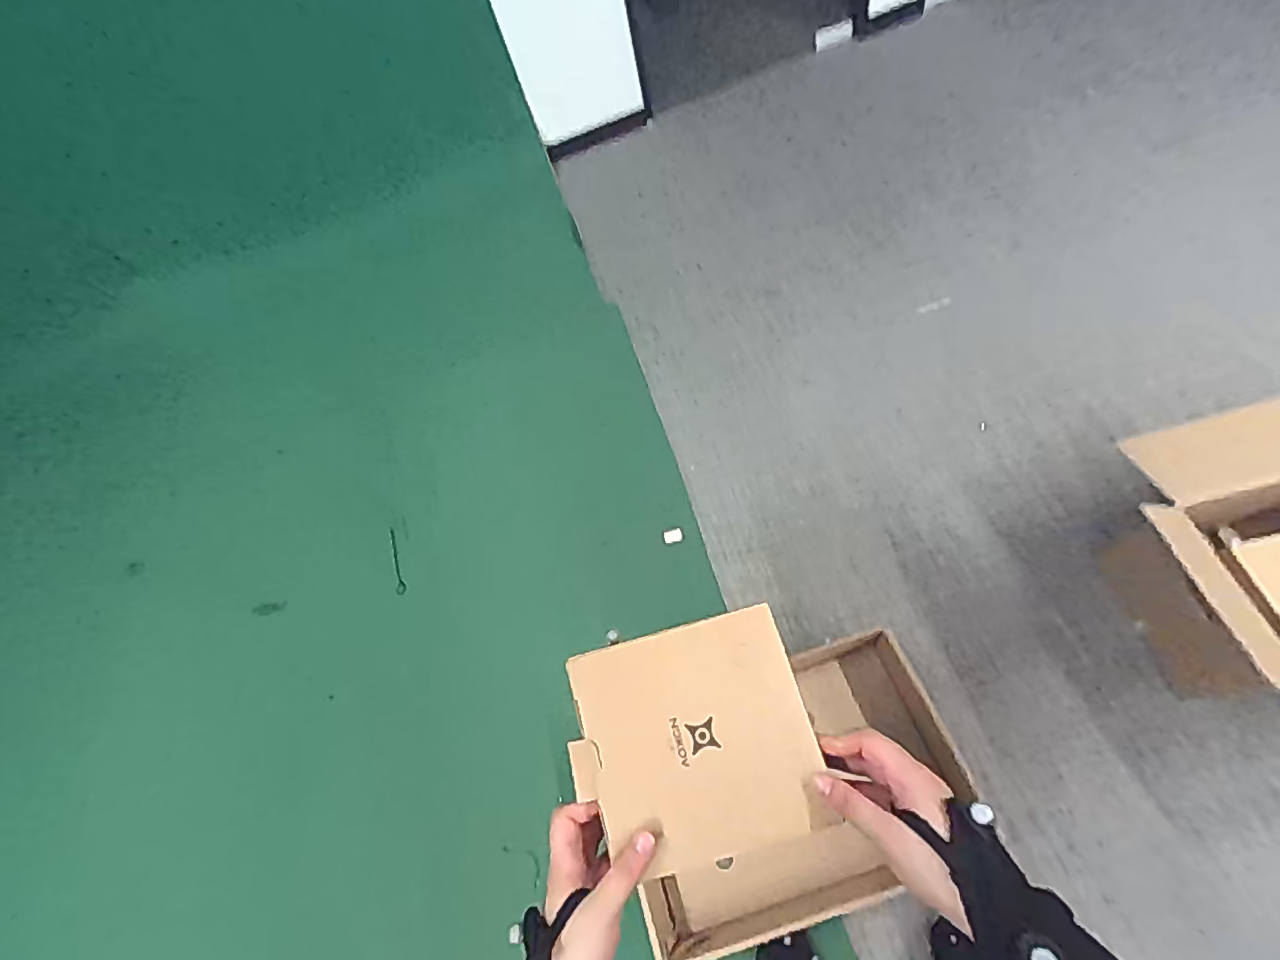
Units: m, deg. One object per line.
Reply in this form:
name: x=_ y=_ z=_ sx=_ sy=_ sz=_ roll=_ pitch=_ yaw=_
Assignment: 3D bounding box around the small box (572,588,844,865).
small box: x=0.054 y=0.208 z=0.497 sx=0.179 sy=0.176 sz=0.168 roll=-18 pitch=72 yaw=1
